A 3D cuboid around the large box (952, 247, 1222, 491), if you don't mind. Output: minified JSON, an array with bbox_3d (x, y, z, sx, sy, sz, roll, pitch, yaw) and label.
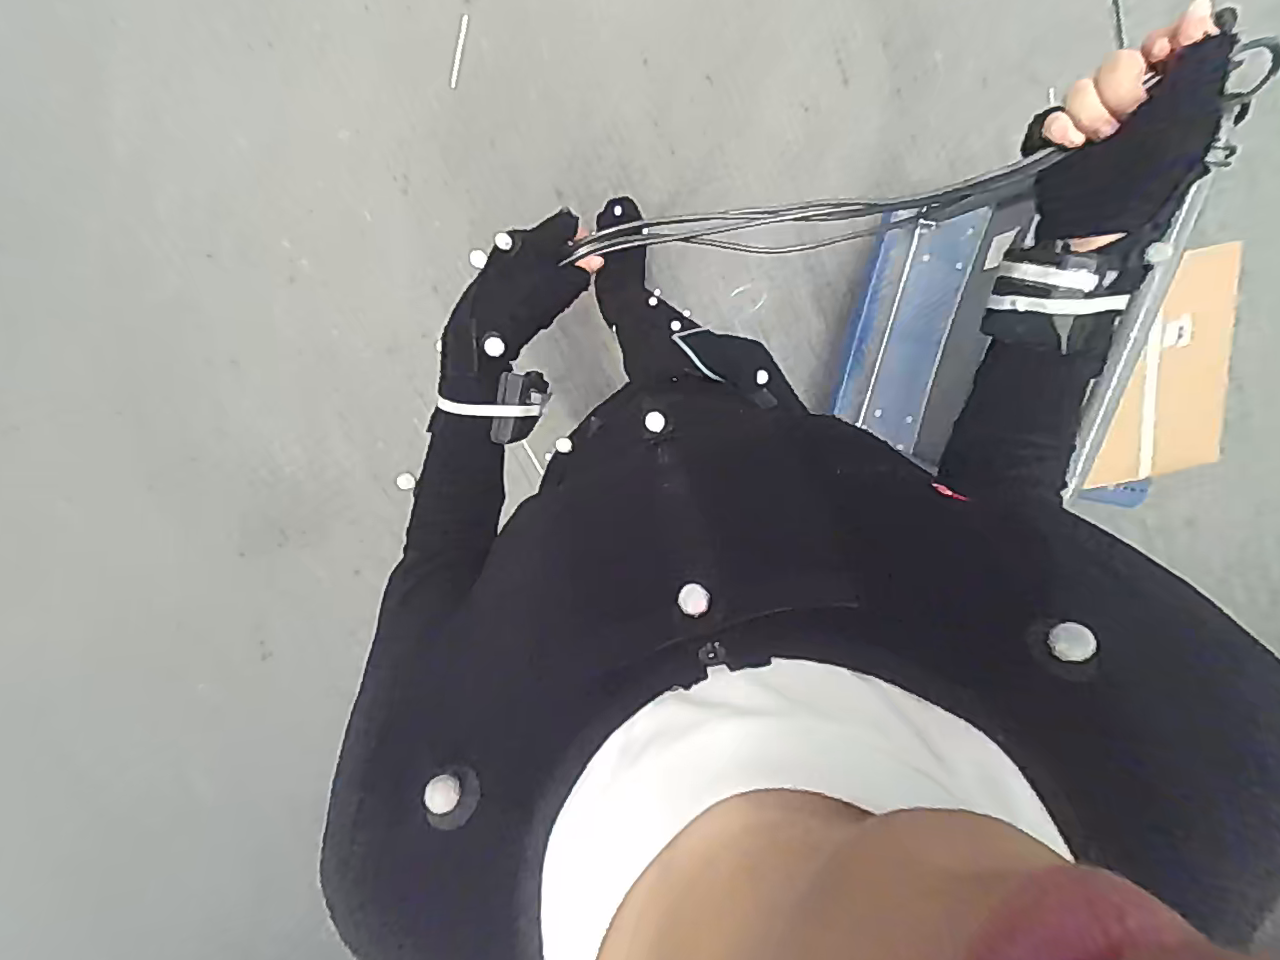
[{"bbox_3d":[0.905,-0.229,1.142,0.320,0.320,0.408,-11,104,-1],"label":"large box"}]
